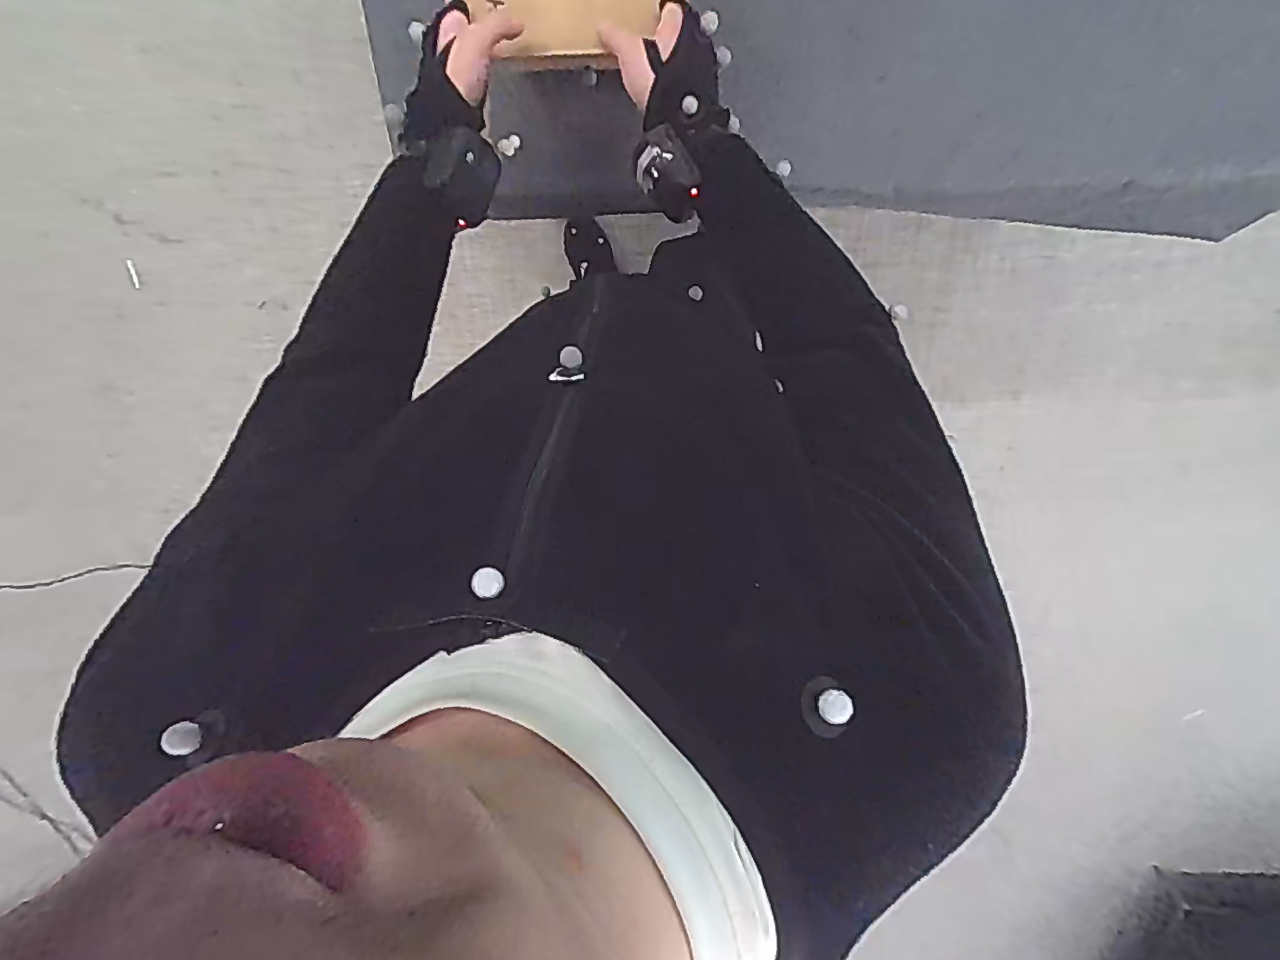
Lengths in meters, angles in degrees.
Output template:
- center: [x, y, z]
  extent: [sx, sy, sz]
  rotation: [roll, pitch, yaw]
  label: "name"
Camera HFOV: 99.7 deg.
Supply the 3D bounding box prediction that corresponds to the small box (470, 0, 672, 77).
- center: [-0.058, -0.488, 0.509]
  extent: [0.179, 0.176, 0.168]
  rotation: [1, 124, 3]
  label: "small box"
